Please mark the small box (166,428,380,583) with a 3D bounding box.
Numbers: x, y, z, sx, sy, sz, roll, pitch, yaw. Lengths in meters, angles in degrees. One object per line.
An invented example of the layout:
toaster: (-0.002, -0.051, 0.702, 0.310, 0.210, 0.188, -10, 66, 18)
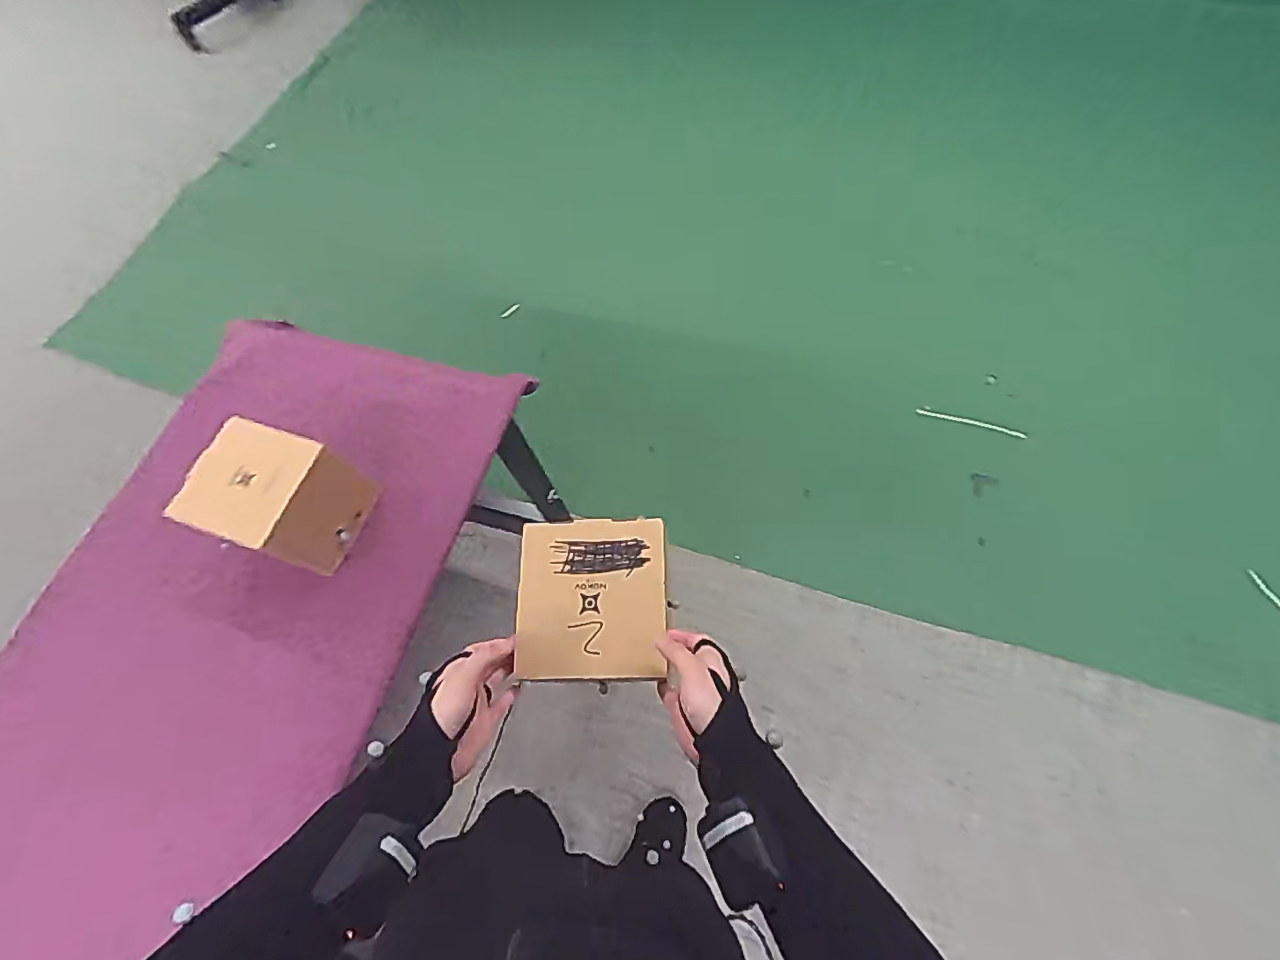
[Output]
small box: (-0.554, 0.046, 0.841, 0.179, 0.176, 0.168, 16, 69, 13)
